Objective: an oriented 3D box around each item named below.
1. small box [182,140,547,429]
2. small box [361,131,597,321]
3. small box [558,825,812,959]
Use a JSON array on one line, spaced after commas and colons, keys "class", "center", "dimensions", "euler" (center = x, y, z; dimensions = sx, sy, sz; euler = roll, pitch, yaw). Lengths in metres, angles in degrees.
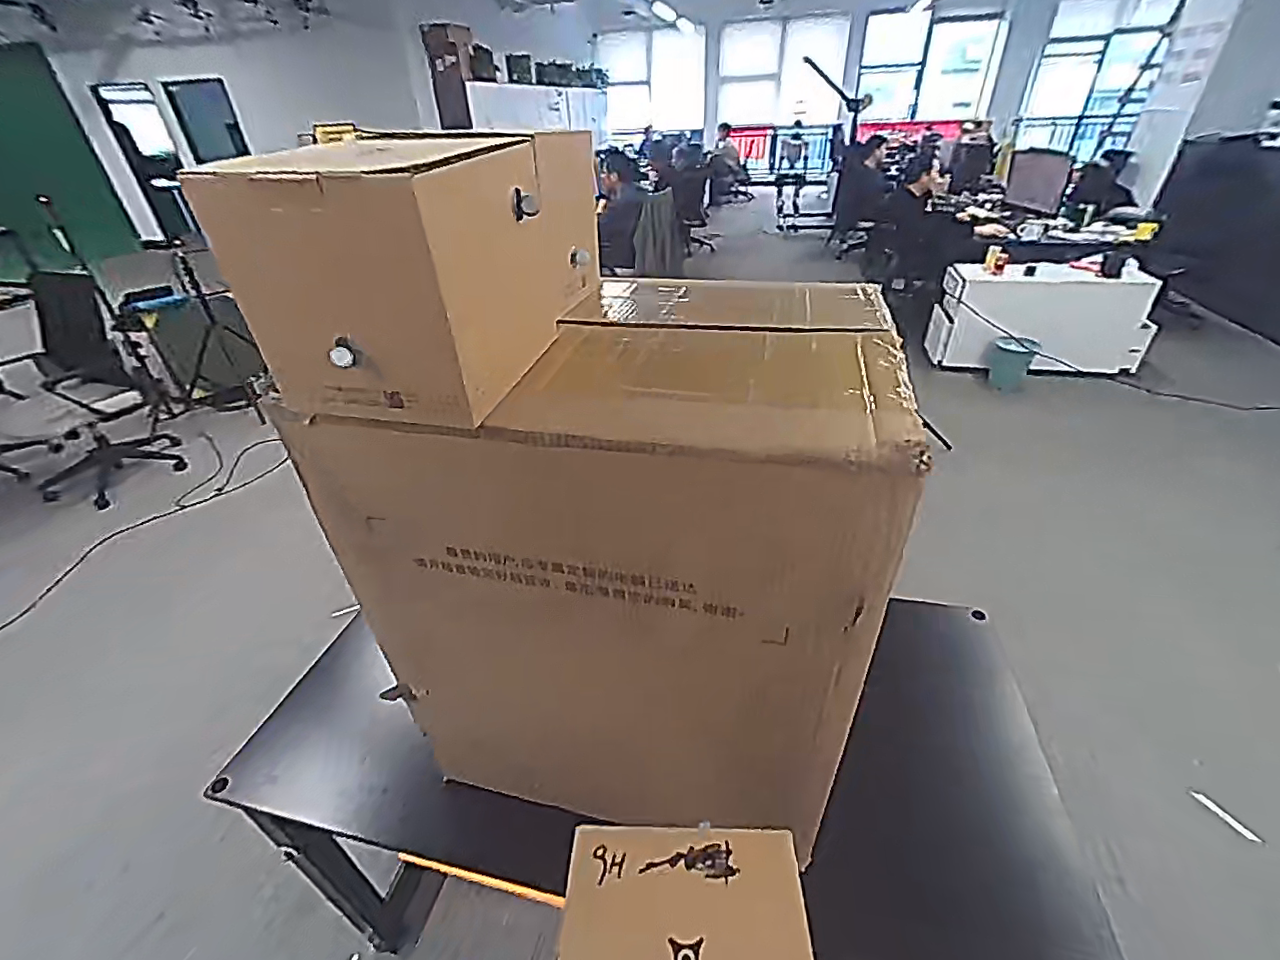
[{"class": "small box", "center": [-0.182, -0.160, 0.428], "dimensions": [0.168, 0.176, 0.179], "euler": [6, 38, 12]}, {"class": "small box", "center": [-0.156, -0.276, 0.588], "dimensions": [0.179, 0.176, 0.168], "euler": [7, 34, 12]}, {"class": "small box", "center": [0.033, 0.378, 0.384], "dimensions": [0.168, 0.176, 0.179], "euler": [-1, 36, 4]}]
